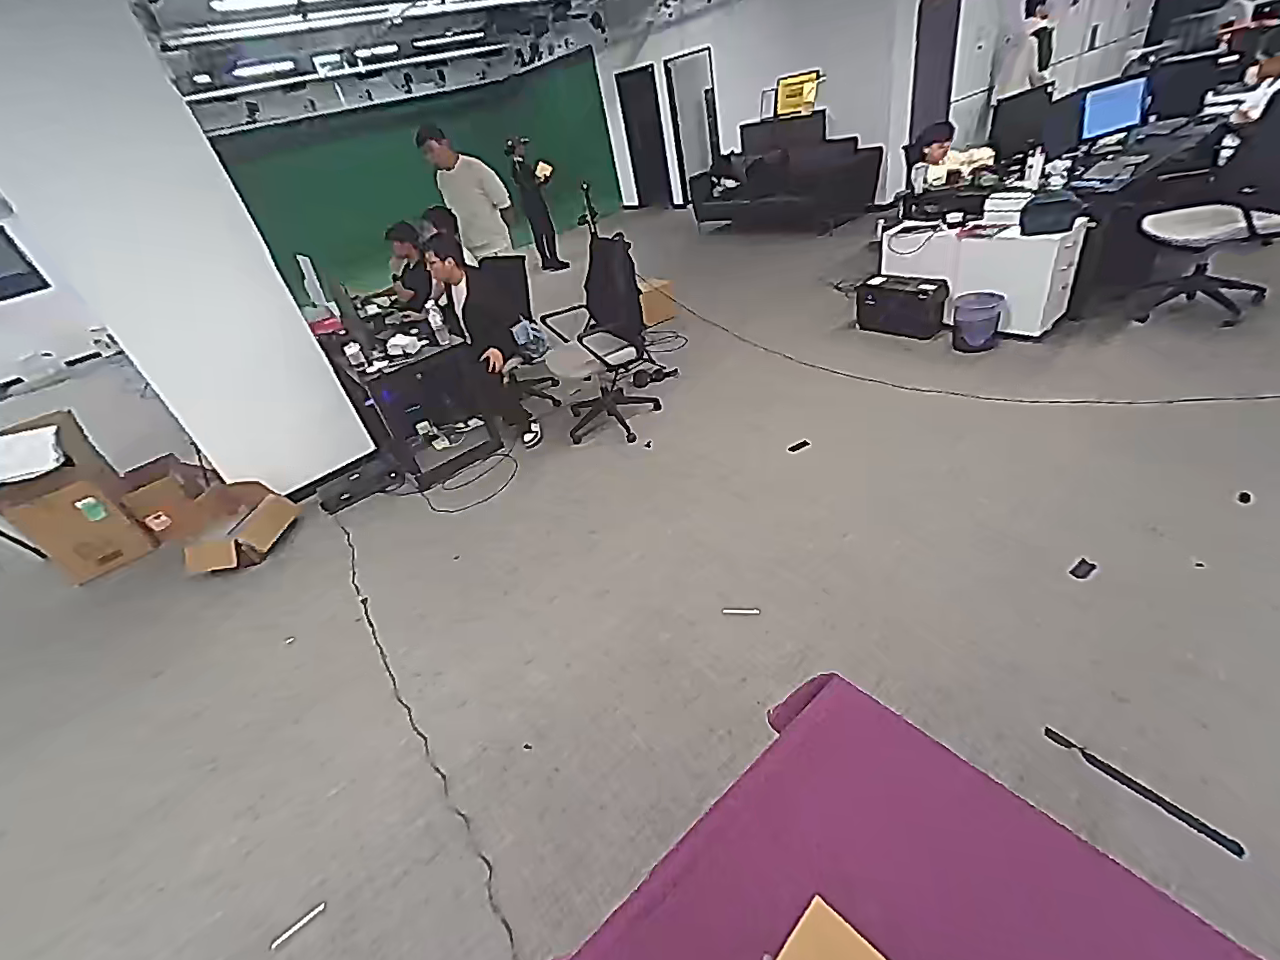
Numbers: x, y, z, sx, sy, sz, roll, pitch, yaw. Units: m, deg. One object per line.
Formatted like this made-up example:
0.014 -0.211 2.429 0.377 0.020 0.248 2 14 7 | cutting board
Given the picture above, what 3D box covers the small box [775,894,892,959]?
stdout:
0.203 0.586 0.547 0.179 0.176 0.168 -35 41 -28 | small box
